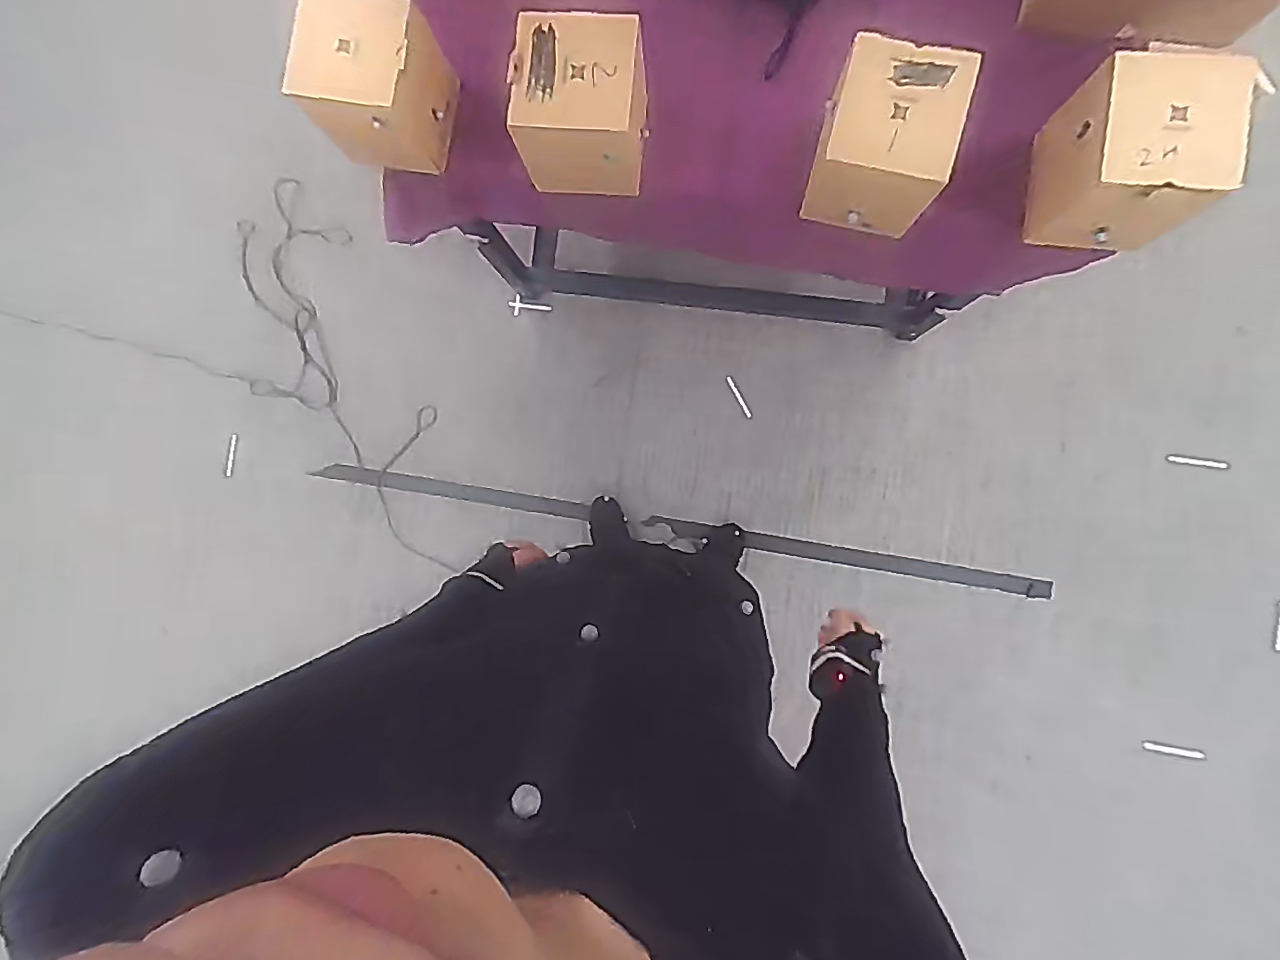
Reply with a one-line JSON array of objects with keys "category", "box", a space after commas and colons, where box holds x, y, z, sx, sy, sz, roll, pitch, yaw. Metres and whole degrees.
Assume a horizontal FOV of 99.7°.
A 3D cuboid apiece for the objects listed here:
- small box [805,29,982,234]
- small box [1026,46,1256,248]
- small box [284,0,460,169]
[{"category": "small box", "box": [0.354, -0.496, 0.792, 0.168, 0.176, 0.179, 15, 92, 5]}, {"category": "small box", "box": [0.683, -0.456, 0.760, 0.168, 0.176, 0.179, 8, 90, 6]}, {"category": "small box", "box": [-0.416, -0.629, 0.863, 0.179, 0.176, 0.168, 10, 90, 4]}]
